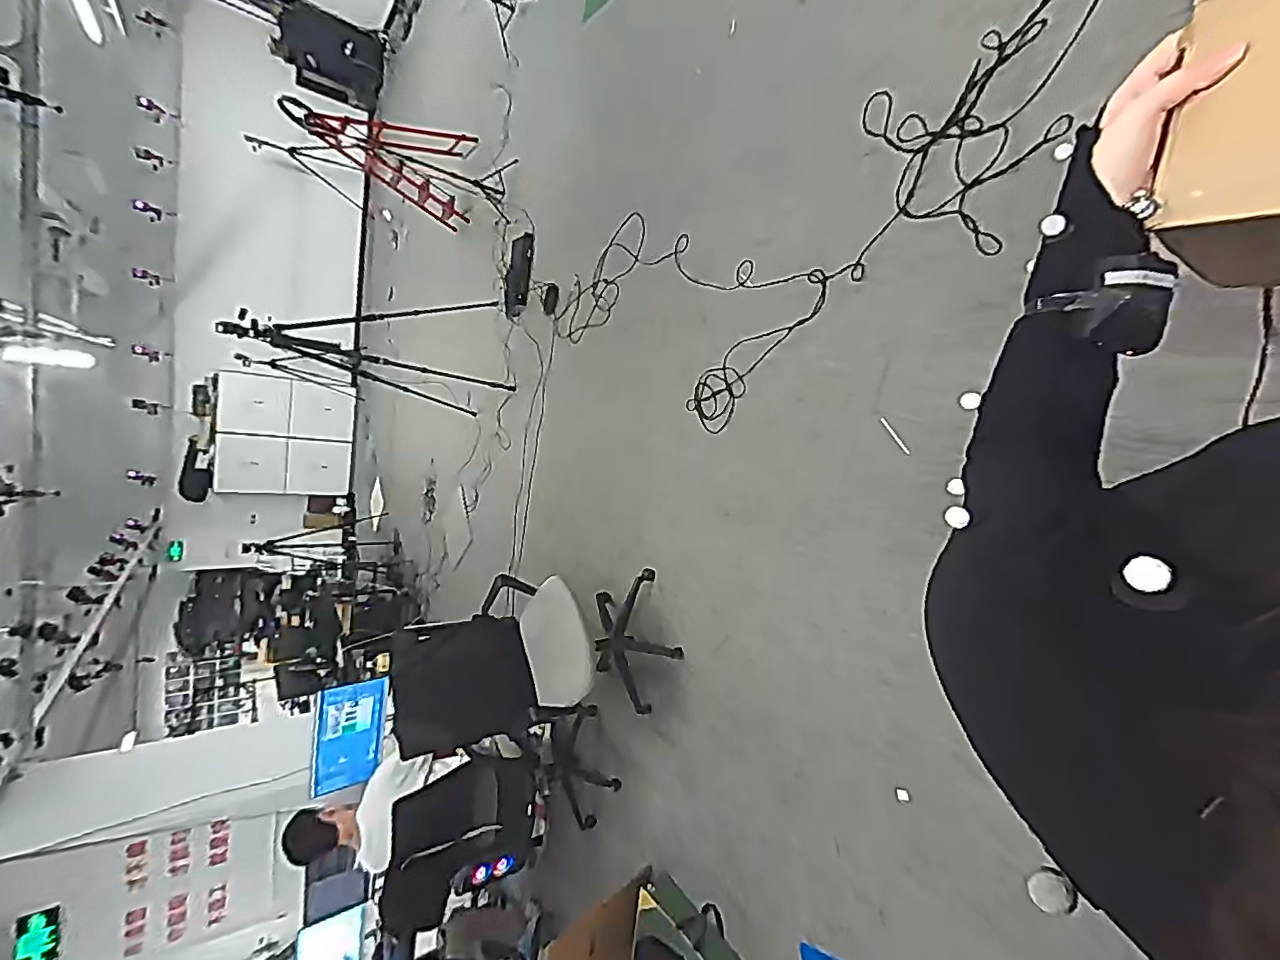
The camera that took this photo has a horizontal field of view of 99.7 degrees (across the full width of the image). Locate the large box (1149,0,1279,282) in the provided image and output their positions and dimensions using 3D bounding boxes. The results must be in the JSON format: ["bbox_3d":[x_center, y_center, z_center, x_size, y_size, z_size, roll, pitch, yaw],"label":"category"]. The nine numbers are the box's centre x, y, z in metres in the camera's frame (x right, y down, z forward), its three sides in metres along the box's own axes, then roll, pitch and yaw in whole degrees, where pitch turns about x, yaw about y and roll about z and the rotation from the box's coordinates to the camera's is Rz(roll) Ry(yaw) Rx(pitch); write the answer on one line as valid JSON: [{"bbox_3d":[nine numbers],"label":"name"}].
[{"bbox_3d":[0.636,-0.314,0.317,0.408,0.320,0.320,18,108,53],"label":"large box"}]
